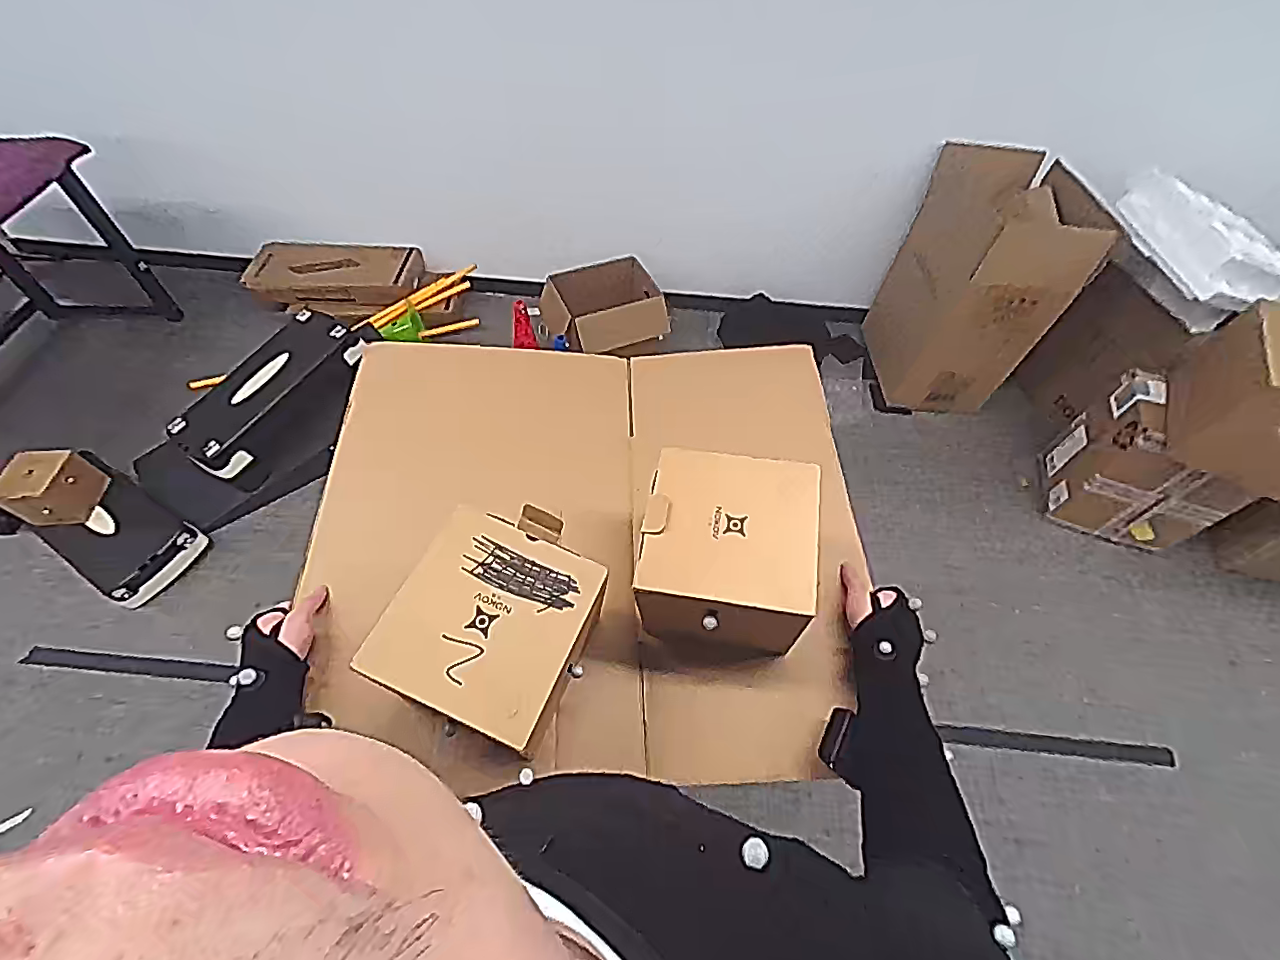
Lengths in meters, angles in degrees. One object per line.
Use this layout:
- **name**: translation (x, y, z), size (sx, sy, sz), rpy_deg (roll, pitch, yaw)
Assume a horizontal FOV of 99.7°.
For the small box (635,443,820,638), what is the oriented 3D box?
- **small box**: translation (0.102, 0.077, 0.630), size (0.179, 0.176, 0.168), rpy_deg (7, 62, 10)
